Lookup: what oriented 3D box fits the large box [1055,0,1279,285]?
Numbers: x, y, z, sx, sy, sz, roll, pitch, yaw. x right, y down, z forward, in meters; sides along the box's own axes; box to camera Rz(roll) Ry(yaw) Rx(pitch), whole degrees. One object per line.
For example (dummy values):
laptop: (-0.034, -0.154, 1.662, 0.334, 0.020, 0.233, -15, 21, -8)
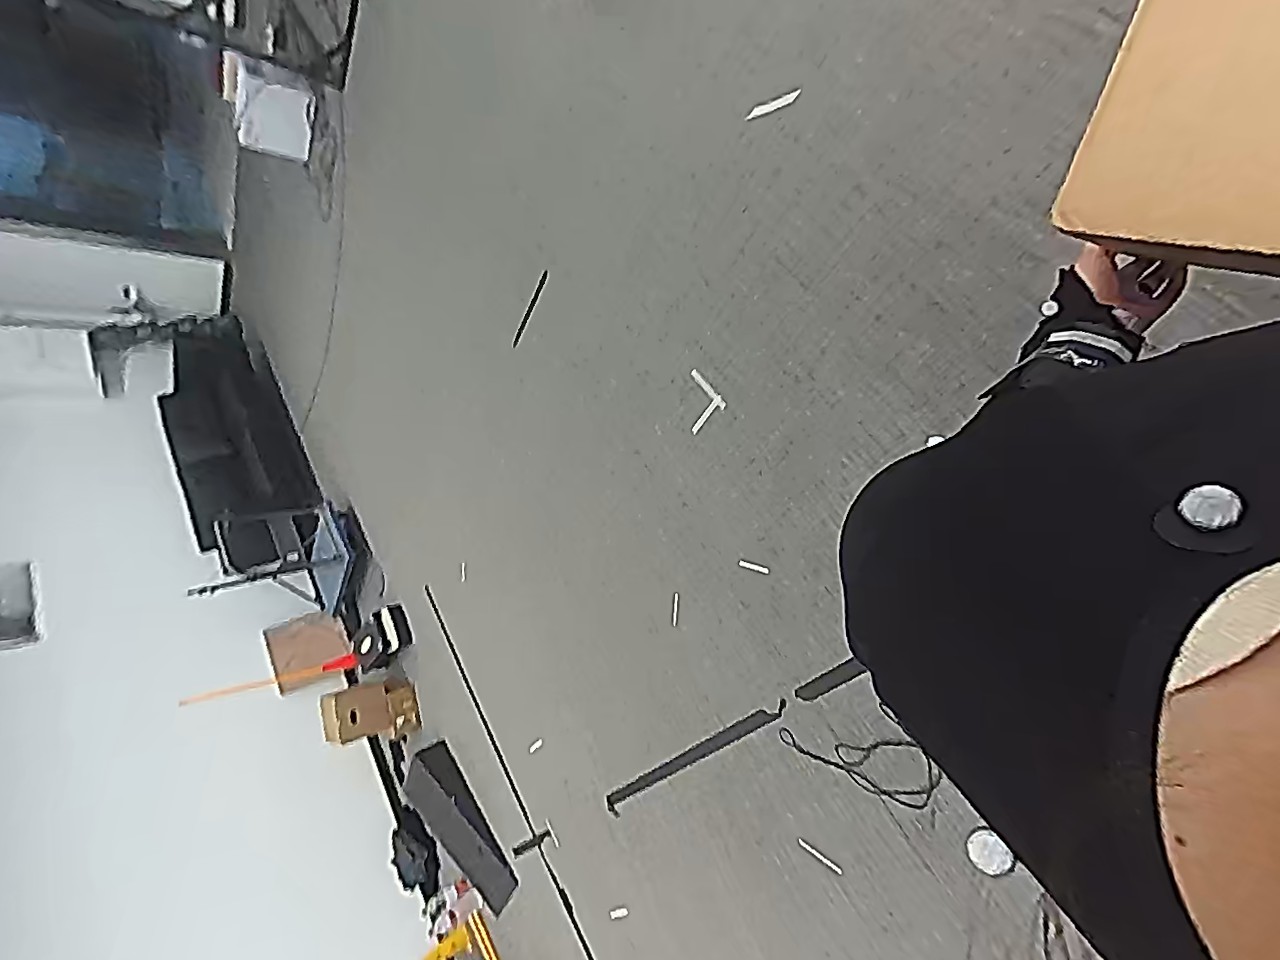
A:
large box: (0.508, -0.239, 0.240, 0.408, 0.320, 0.320, 30, 124, 39)
